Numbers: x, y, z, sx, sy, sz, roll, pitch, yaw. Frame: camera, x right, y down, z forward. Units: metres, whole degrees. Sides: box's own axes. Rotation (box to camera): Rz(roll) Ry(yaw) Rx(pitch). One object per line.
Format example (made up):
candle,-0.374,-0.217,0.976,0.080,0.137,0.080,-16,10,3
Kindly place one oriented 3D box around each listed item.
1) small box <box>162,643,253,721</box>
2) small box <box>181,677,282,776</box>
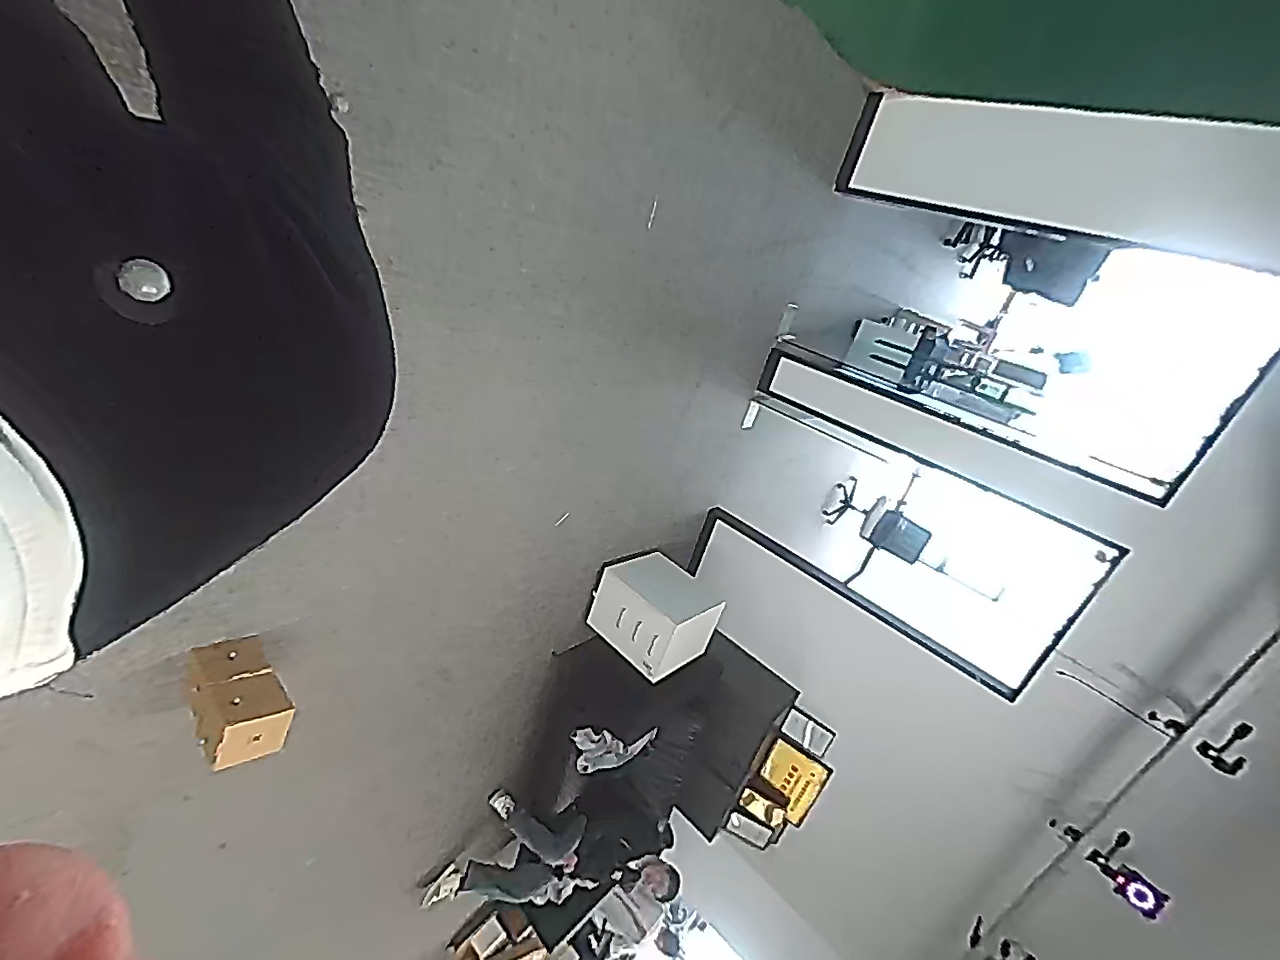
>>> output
small box,-1.290,0.632,1.638,0.179,0.176,0.168,-35,144,-35
small box,-1.178,0.698,1.554,0.179,0.176,0.168,6,115,-57
